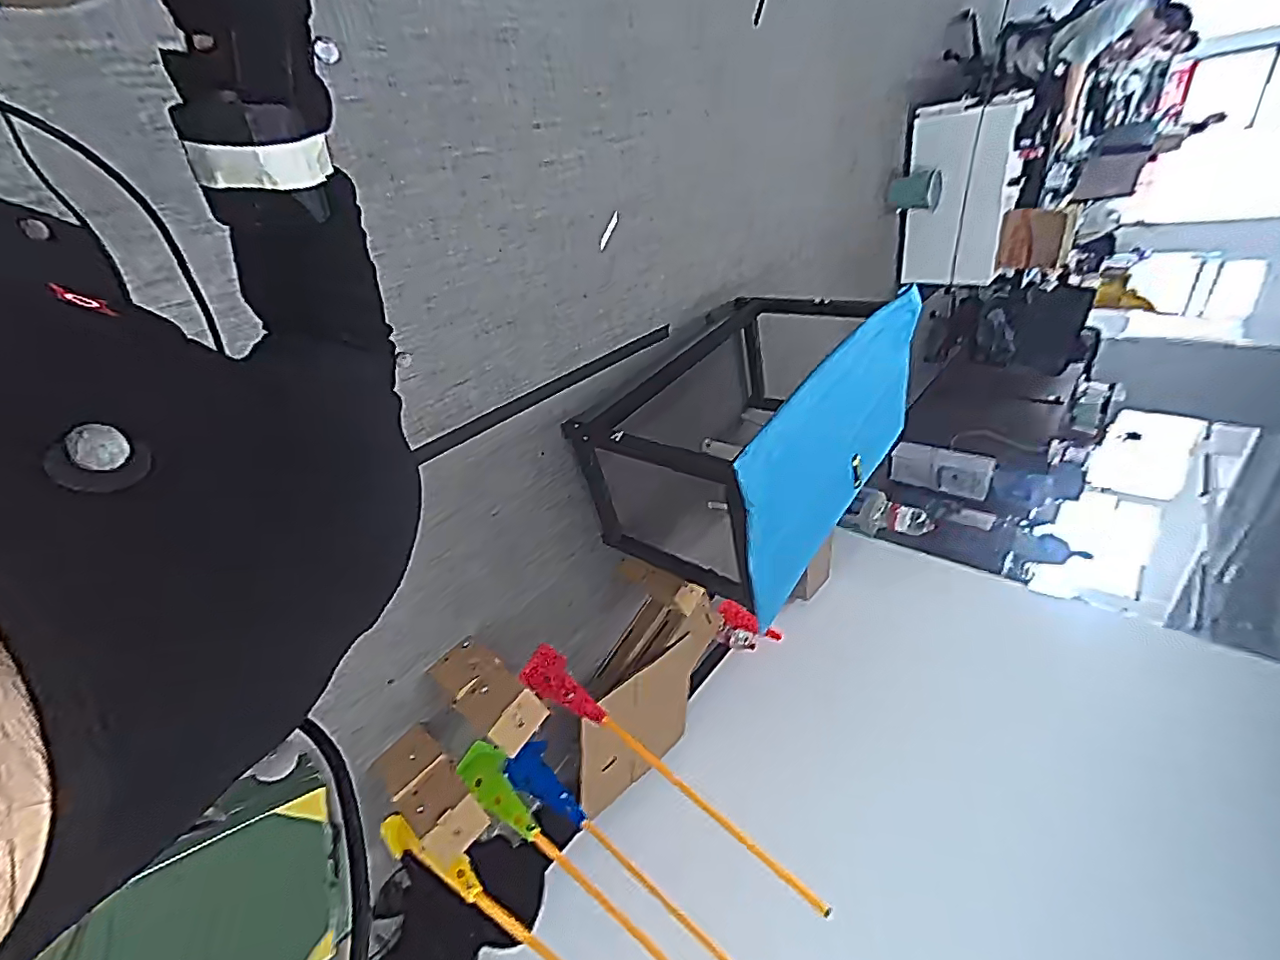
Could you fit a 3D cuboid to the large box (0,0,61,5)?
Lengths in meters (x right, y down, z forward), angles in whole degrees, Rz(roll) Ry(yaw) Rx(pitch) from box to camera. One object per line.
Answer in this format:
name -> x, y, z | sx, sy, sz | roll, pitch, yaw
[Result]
large box -> -0.457, -0.332, 0.126 | 0.408, 0.320, 0.320 | -32, 138, -38
